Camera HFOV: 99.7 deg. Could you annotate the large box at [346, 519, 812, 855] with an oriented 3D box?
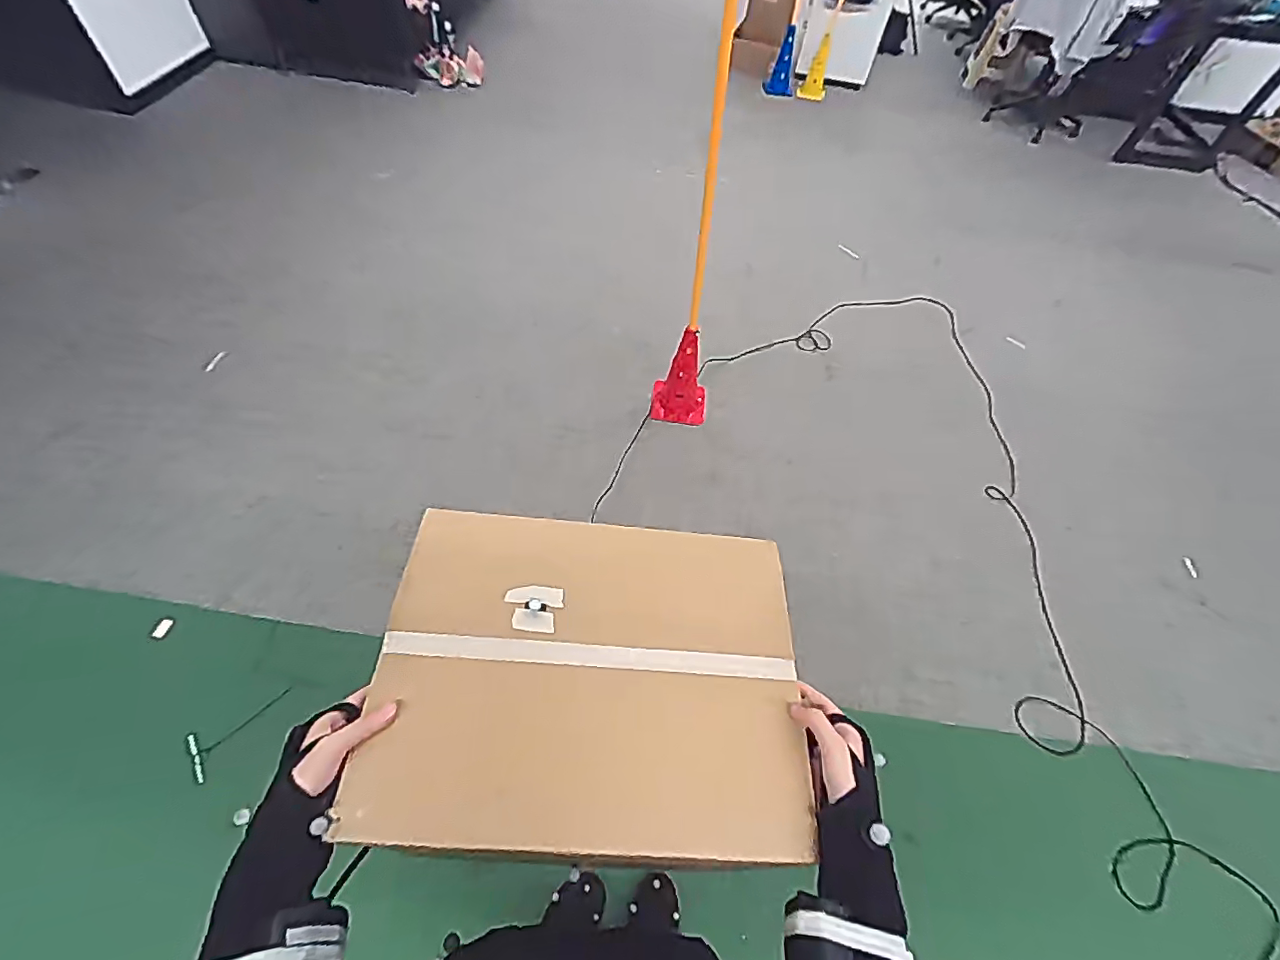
[{"bbox_3d":[-0.057,0.269,0.663,0.408,0.320,0.320,5,53,-4],"label":"large box"}]
